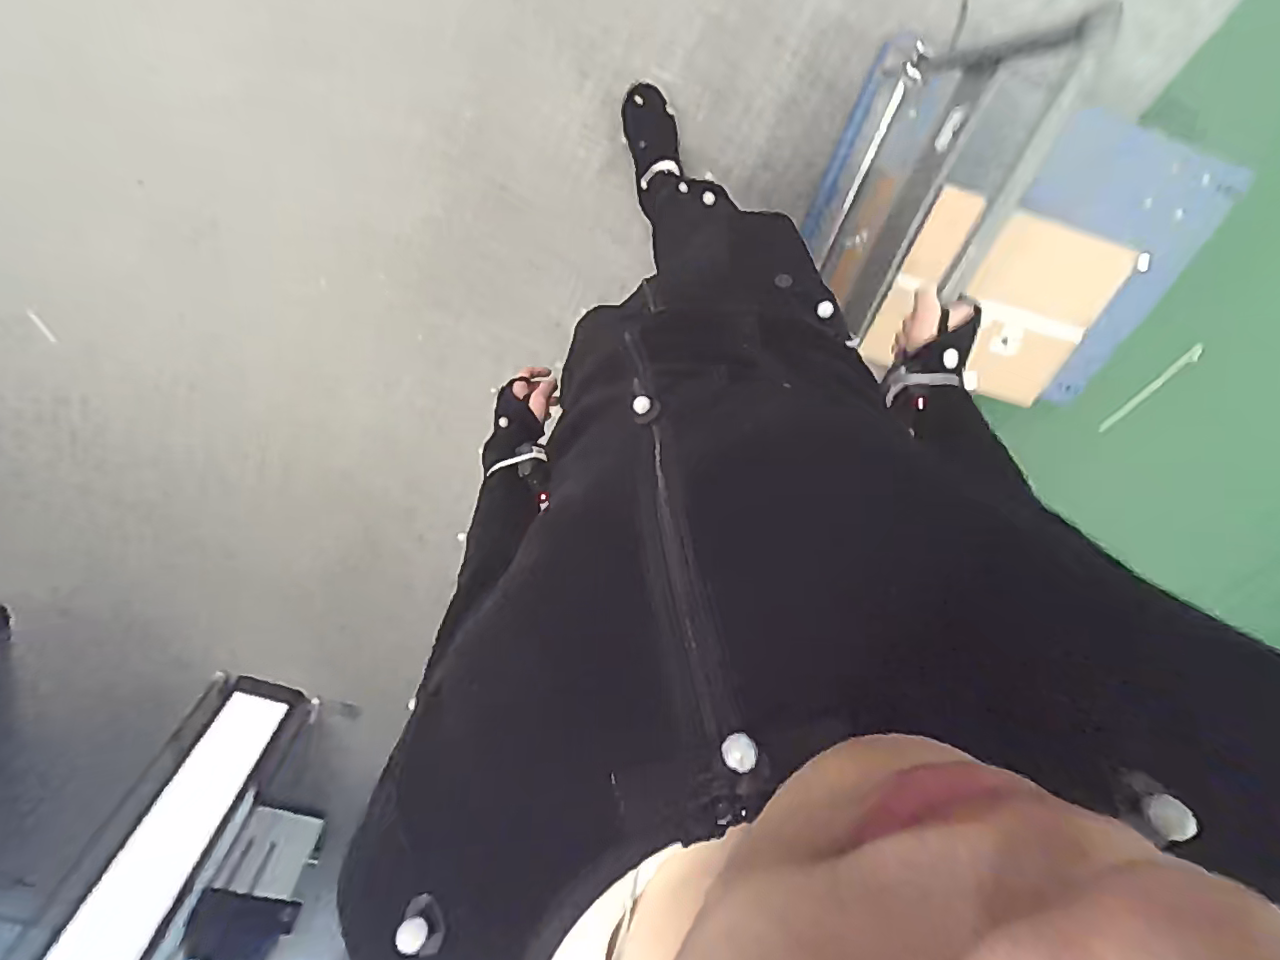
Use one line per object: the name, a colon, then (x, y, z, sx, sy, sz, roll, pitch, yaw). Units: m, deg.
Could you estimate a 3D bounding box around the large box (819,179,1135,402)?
large box: (0.662, -0.409, 1.148, 0.408, 0.320, 0.320, 14, 124, -8)
